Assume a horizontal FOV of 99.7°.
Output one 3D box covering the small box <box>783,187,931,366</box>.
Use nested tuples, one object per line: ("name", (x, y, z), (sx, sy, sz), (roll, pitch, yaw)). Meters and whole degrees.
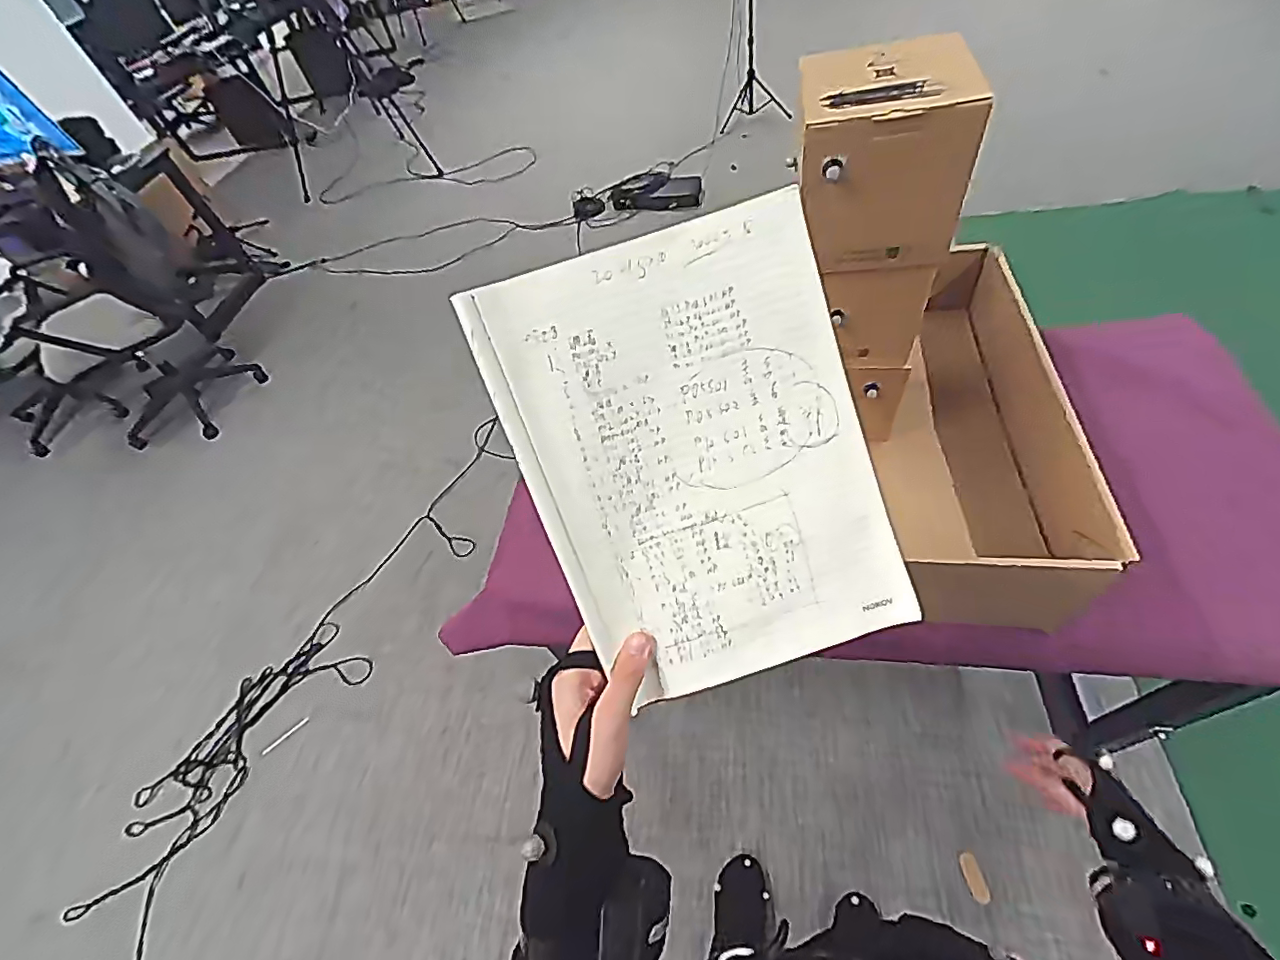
("small box", (0.290, -0.274, 0.756), (0.168, 0.176, 0.179), (2, 55, 14))
